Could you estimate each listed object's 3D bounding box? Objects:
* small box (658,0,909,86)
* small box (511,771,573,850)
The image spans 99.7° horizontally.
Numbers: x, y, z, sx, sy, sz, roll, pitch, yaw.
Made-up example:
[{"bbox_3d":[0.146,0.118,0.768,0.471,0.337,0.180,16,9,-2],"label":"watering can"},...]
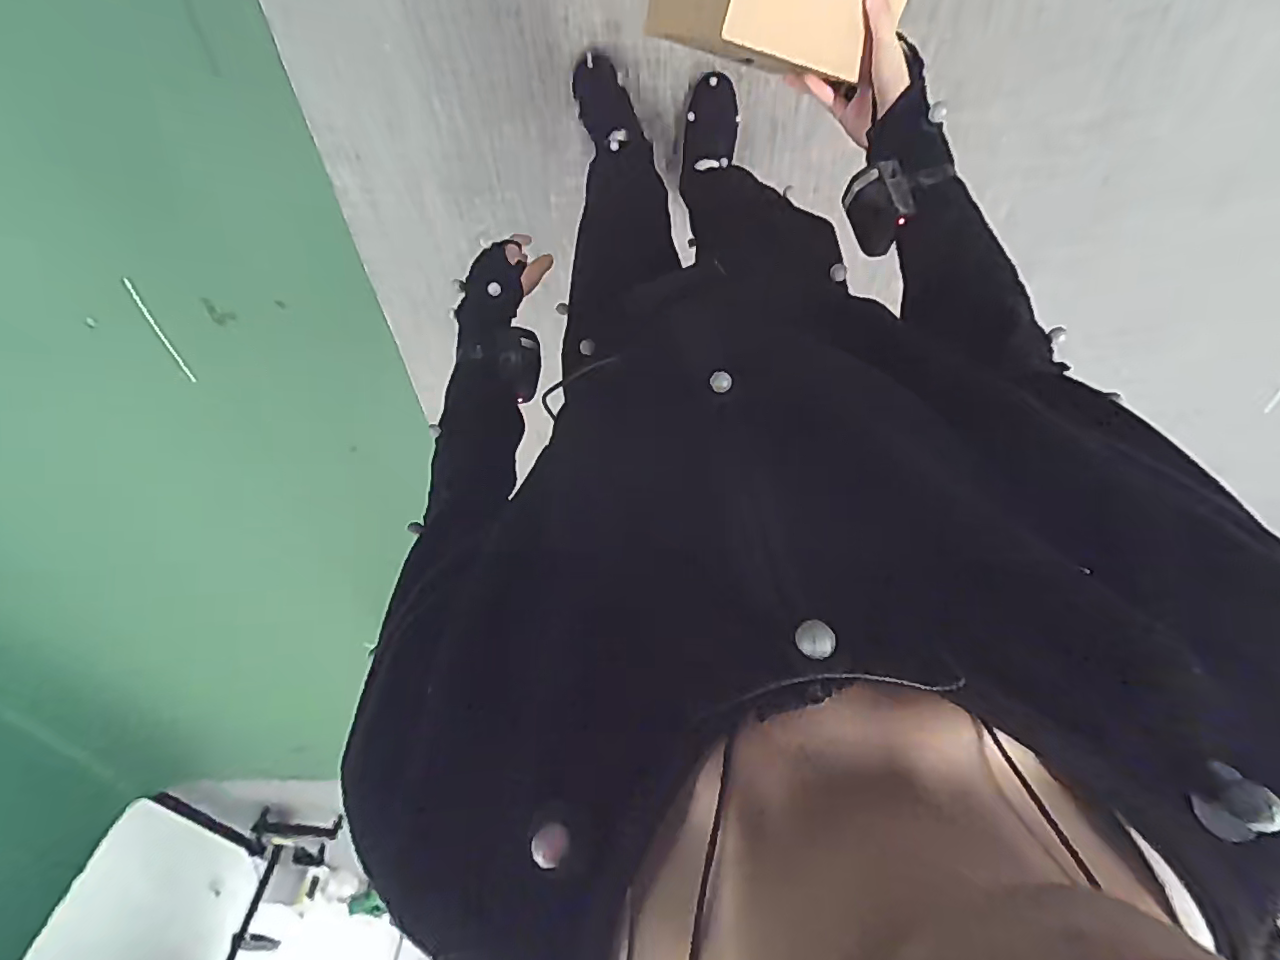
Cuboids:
[{"bbox_3d":[0.128,-0.469,0.461,0.168,0.176,0.179,-3,128,-25],"label":"small box"},{"bbox_3d":[-0.295,1.006,1.649,0.168,0.176,0.179,4,132,-3],"label":"small box"}]
